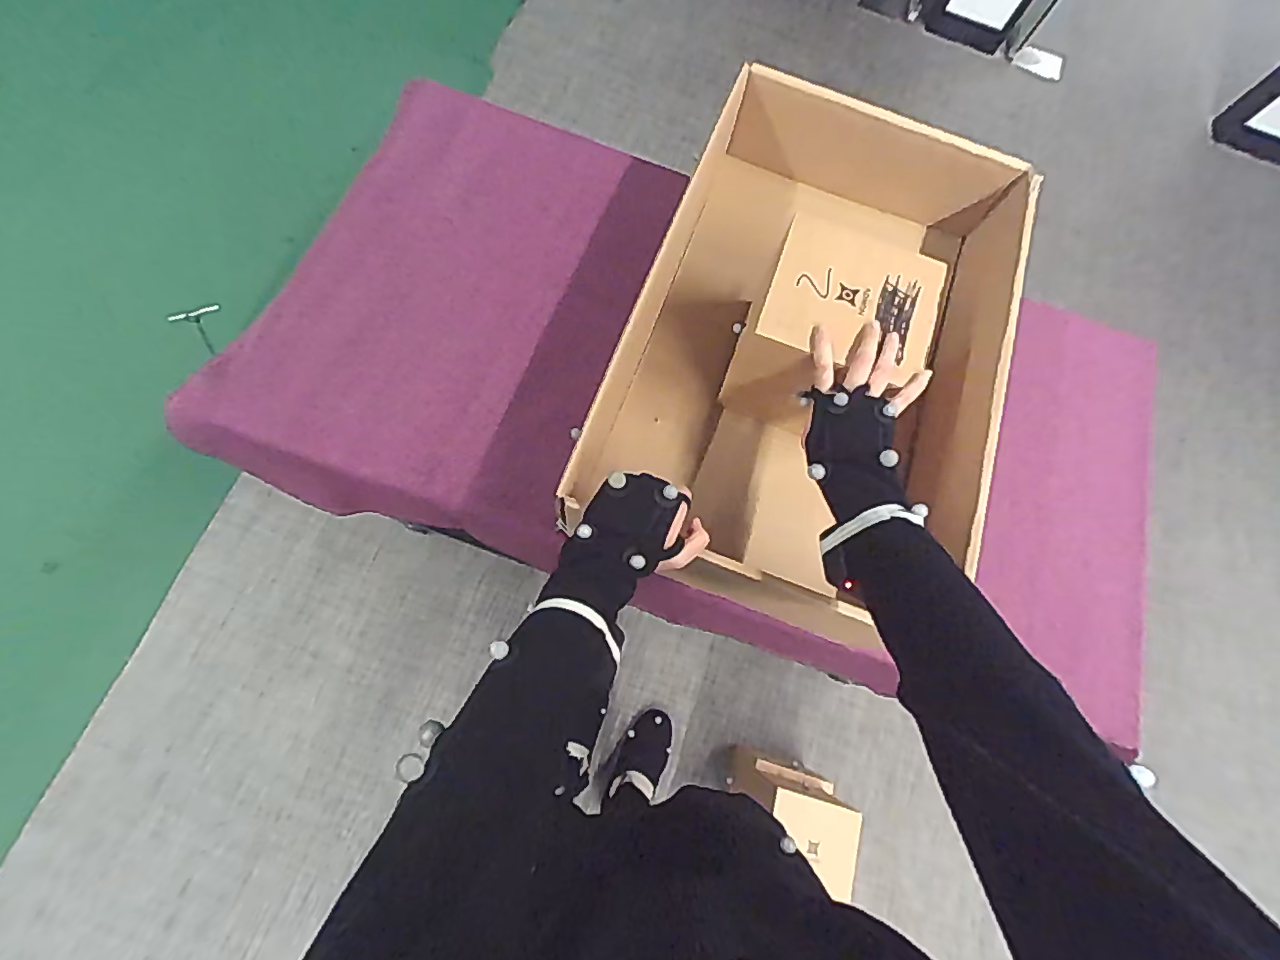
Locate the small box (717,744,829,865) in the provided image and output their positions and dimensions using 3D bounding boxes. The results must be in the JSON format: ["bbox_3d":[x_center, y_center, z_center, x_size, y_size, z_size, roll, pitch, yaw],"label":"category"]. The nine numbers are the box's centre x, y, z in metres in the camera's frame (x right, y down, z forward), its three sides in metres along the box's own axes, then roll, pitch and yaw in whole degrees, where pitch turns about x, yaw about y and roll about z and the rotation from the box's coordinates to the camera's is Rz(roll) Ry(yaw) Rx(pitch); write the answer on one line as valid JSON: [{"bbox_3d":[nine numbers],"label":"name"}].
[{"bbox_3d":[0.290,0.709,1.203,0.179,0.176,0.168,19,73,0],"label":"small box"}]
